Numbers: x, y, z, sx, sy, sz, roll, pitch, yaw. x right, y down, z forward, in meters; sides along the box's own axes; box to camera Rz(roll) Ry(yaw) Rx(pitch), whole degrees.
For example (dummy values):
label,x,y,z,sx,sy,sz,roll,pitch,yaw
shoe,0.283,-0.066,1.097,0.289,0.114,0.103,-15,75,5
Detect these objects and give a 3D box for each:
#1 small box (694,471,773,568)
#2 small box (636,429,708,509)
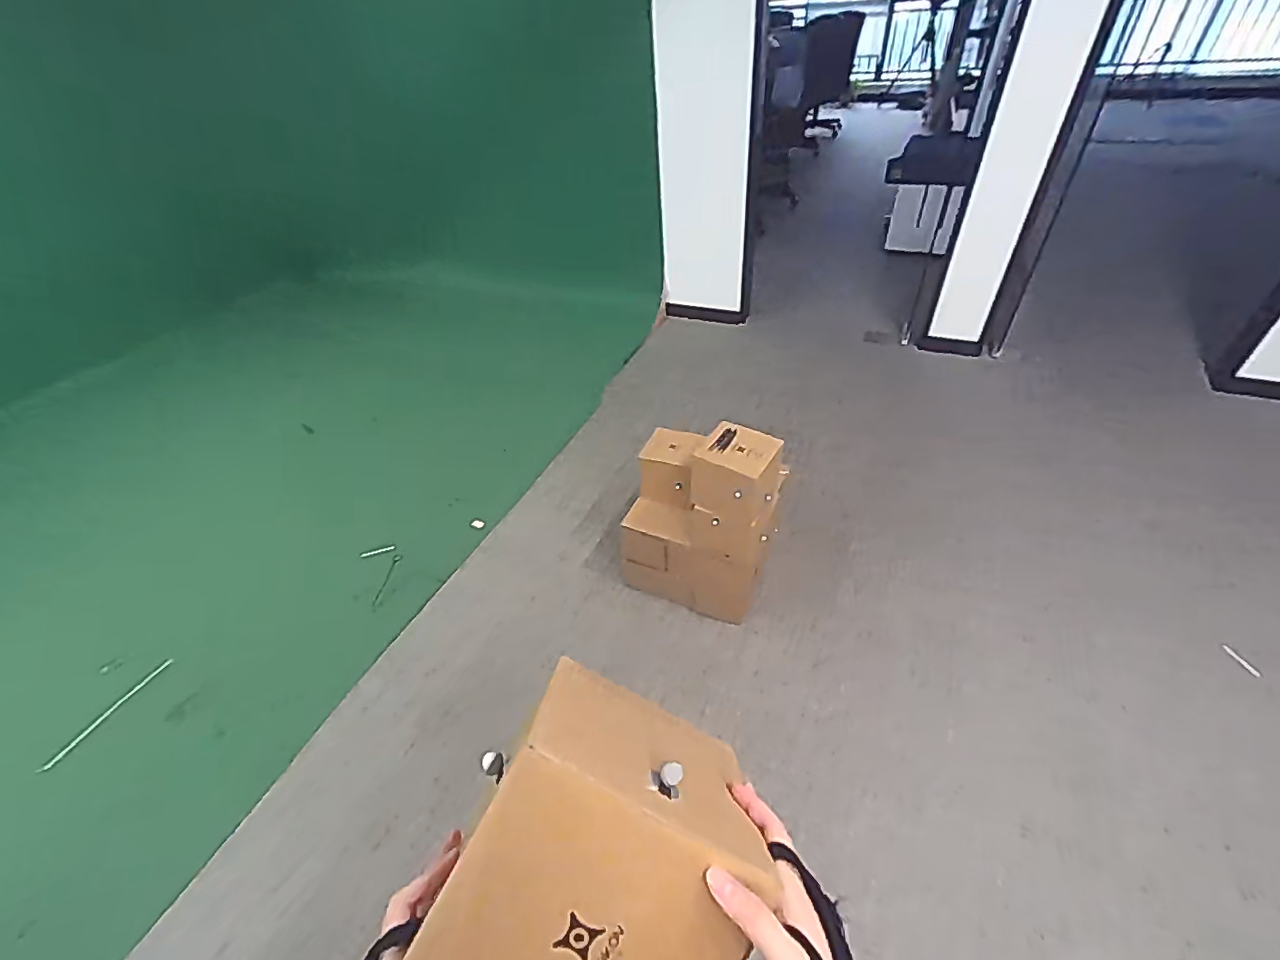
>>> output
label,x,y,z,sx,sy,sz,roll,pitch,yaw
small box,0.254,0.110,1.501,0.168,0.176,0.179,18,46,23
small box,0.104,-0.032,1.678,0.179,0.176,0.168,13,43,20
